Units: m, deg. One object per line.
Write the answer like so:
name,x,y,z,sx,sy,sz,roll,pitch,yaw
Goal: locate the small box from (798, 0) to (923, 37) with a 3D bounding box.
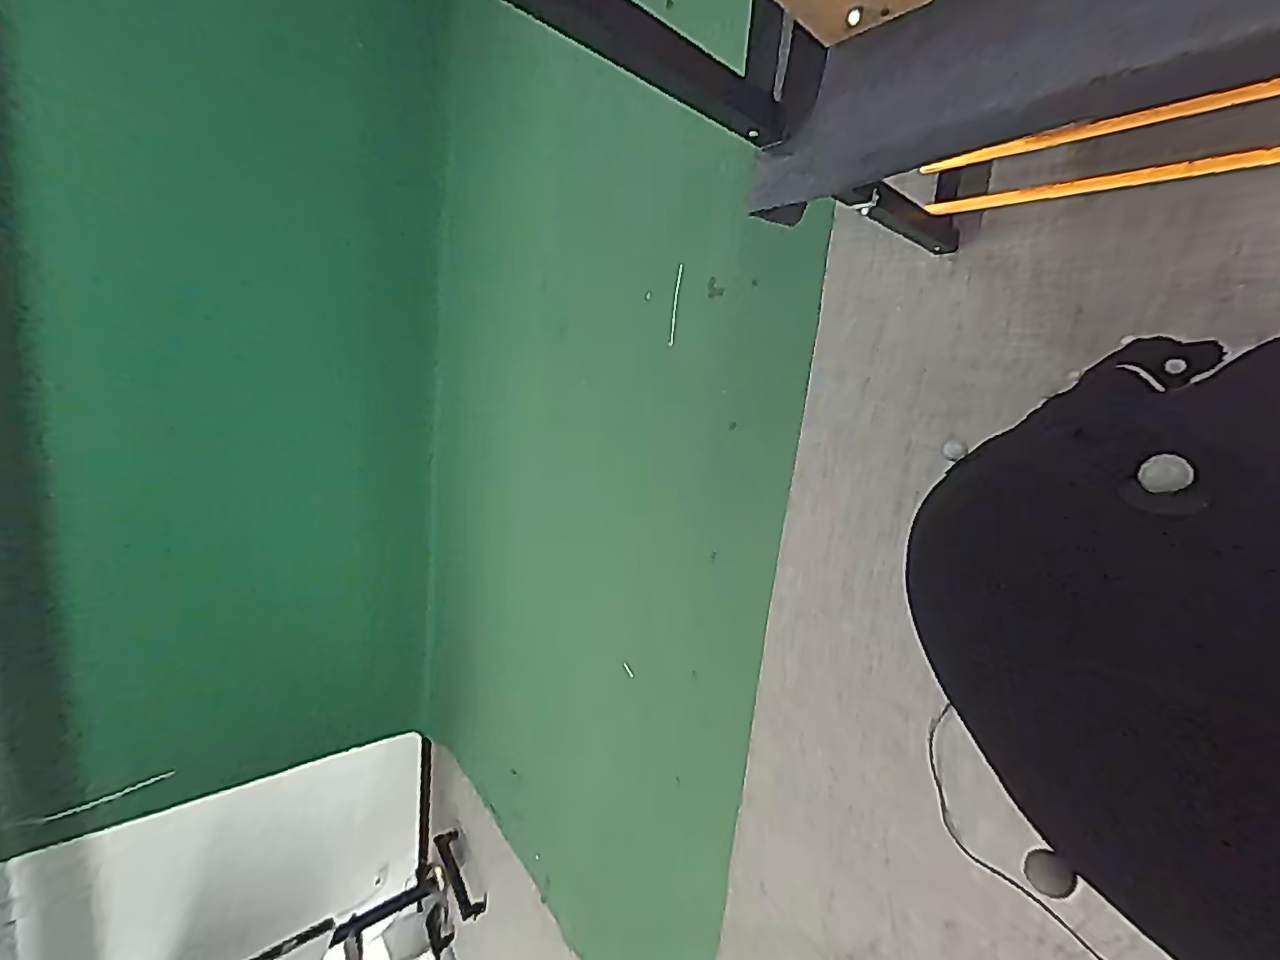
small box,0.297,-0.755,0.723,0.168,0.176,0.179,17,105,48
